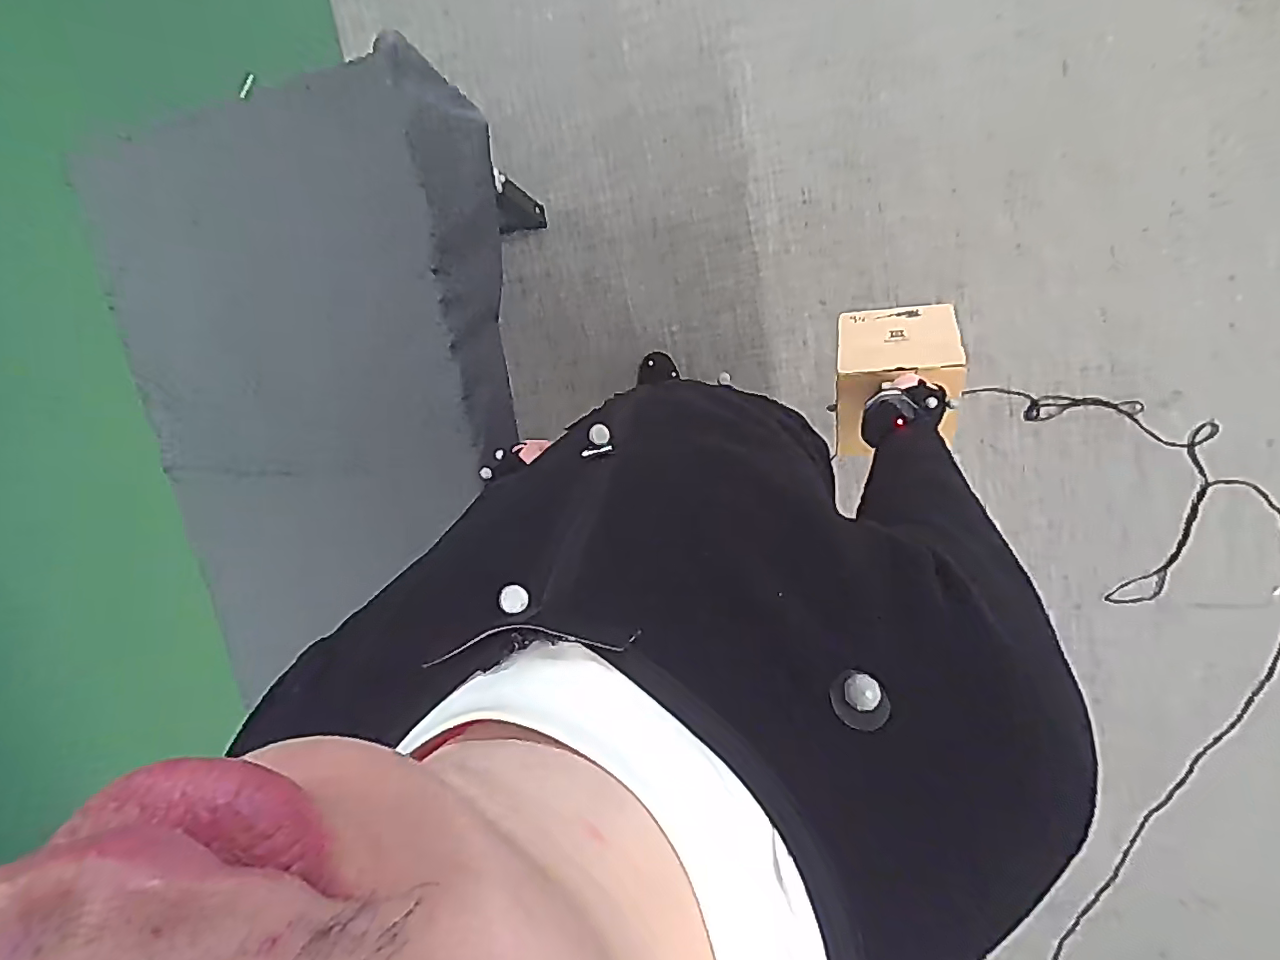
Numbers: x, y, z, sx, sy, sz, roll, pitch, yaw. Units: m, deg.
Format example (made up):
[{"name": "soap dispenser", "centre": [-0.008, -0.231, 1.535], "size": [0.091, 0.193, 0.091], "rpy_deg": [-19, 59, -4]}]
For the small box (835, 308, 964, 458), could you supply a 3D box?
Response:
[{"name": "small box", "centre": [0.402, -0.146, 0.860], "size": [0.168, 0.179, 0.176], "rpy_deg": [-2, 132, 20]}]
